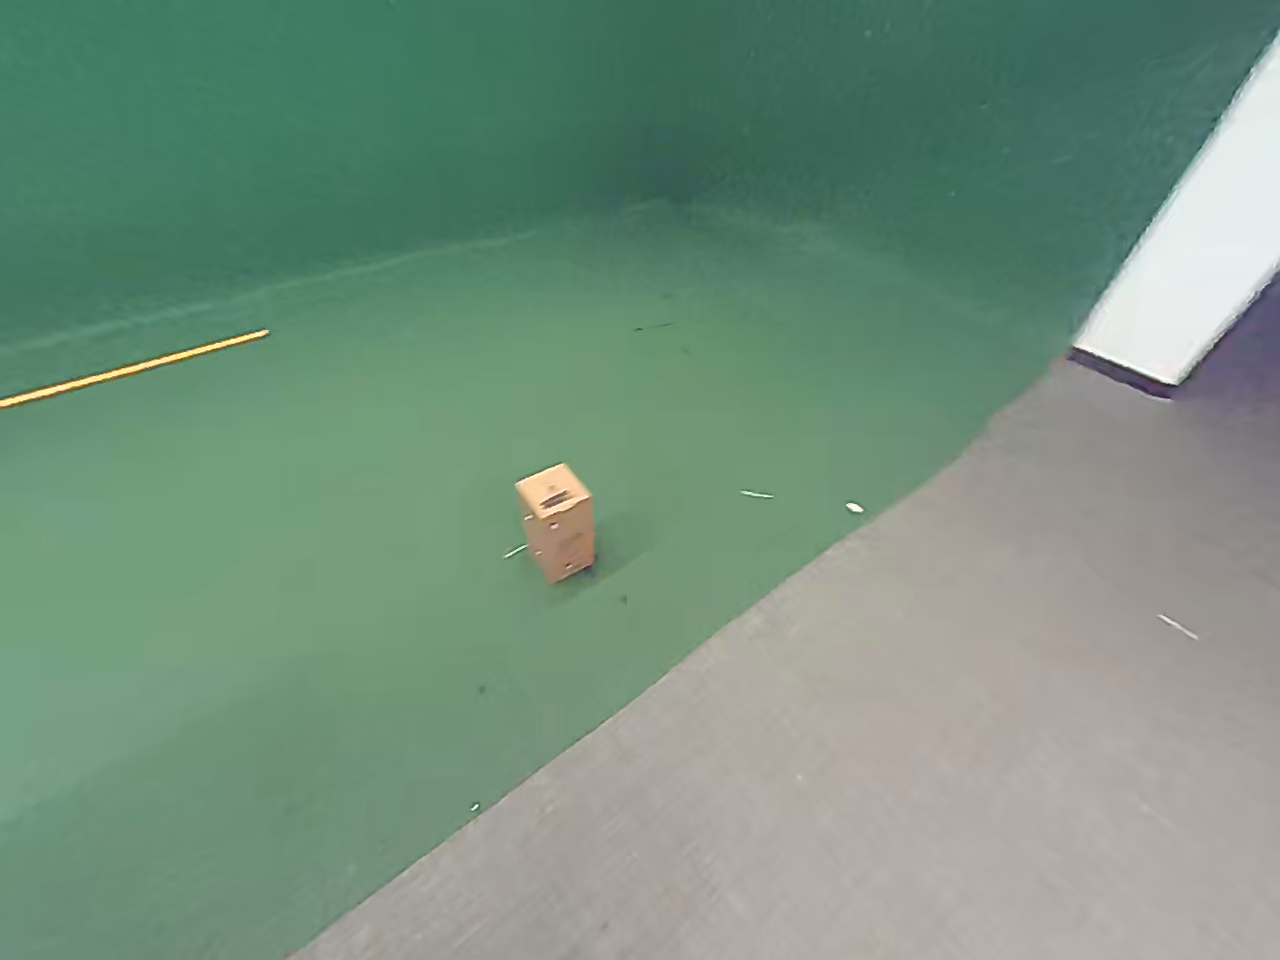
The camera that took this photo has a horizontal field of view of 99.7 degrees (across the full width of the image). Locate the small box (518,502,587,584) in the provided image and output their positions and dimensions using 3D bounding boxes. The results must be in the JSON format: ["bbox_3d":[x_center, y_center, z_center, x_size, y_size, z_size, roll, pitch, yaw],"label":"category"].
[{"bbox_3d":[-0.289,0.212,1.800,0.168,0.176,0.179,-25,52,-26],"label":"small box"}]
